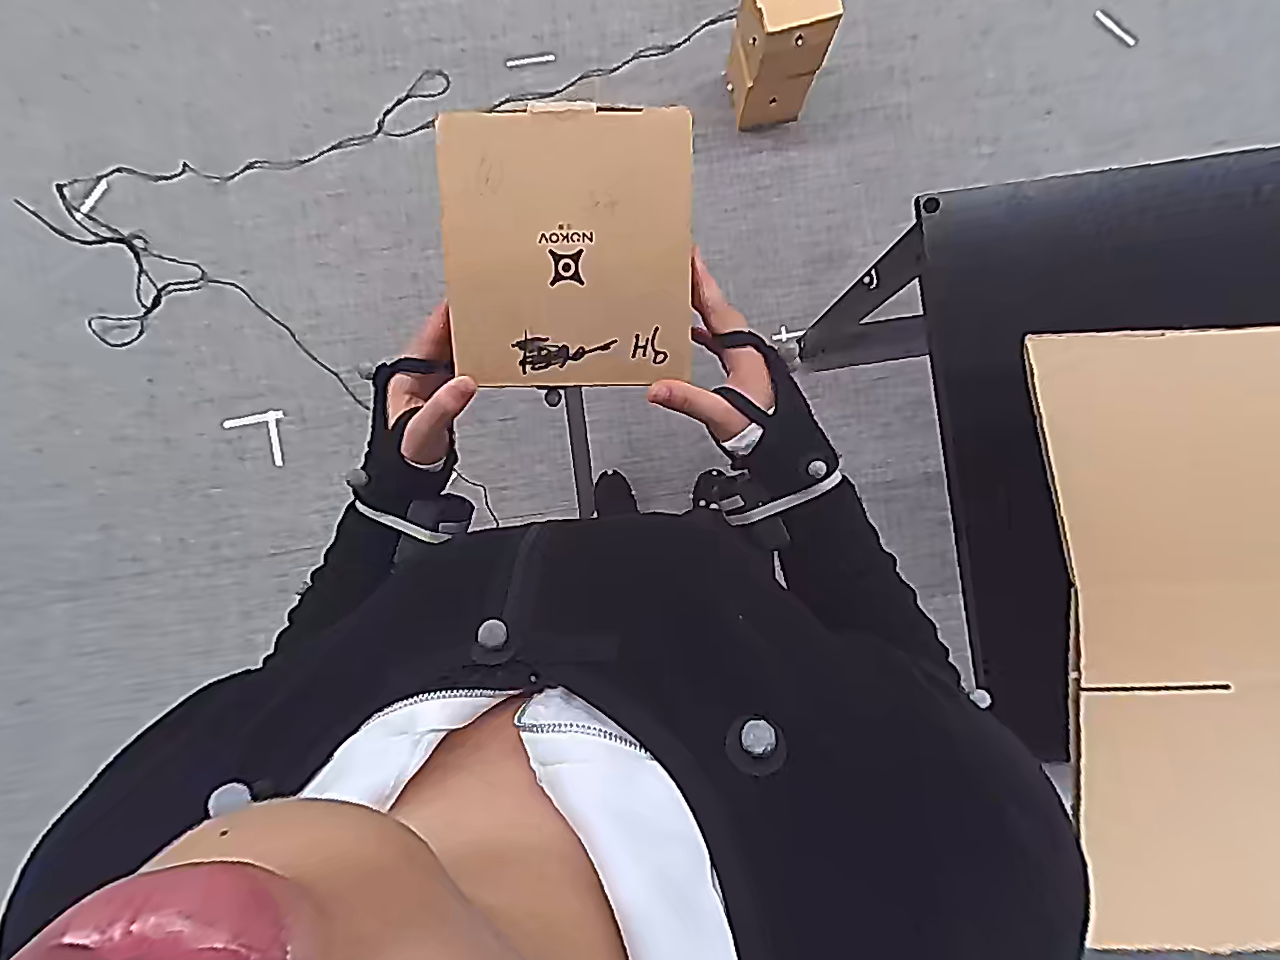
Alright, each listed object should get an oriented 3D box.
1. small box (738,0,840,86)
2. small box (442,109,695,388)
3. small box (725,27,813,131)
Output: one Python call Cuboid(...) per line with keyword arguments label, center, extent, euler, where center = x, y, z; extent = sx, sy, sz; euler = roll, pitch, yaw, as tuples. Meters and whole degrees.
Cuboid(label="small box", center=(0.336, -1.066, 1.261), extent=(0.179, 0.176, 0.168), euler=(-14, 90, 0))
Cuboid(label="small box", center=(-0.045, -0.165, 0.439), extent=(0.168, 0.176, 0.179), euler=(0, 101, 2))
Cuboid(label="small box", center=(0.333, -1.062, 1.423), extent=(0.179, 0.176, 0.168), euler=(-11, 89, 2))
